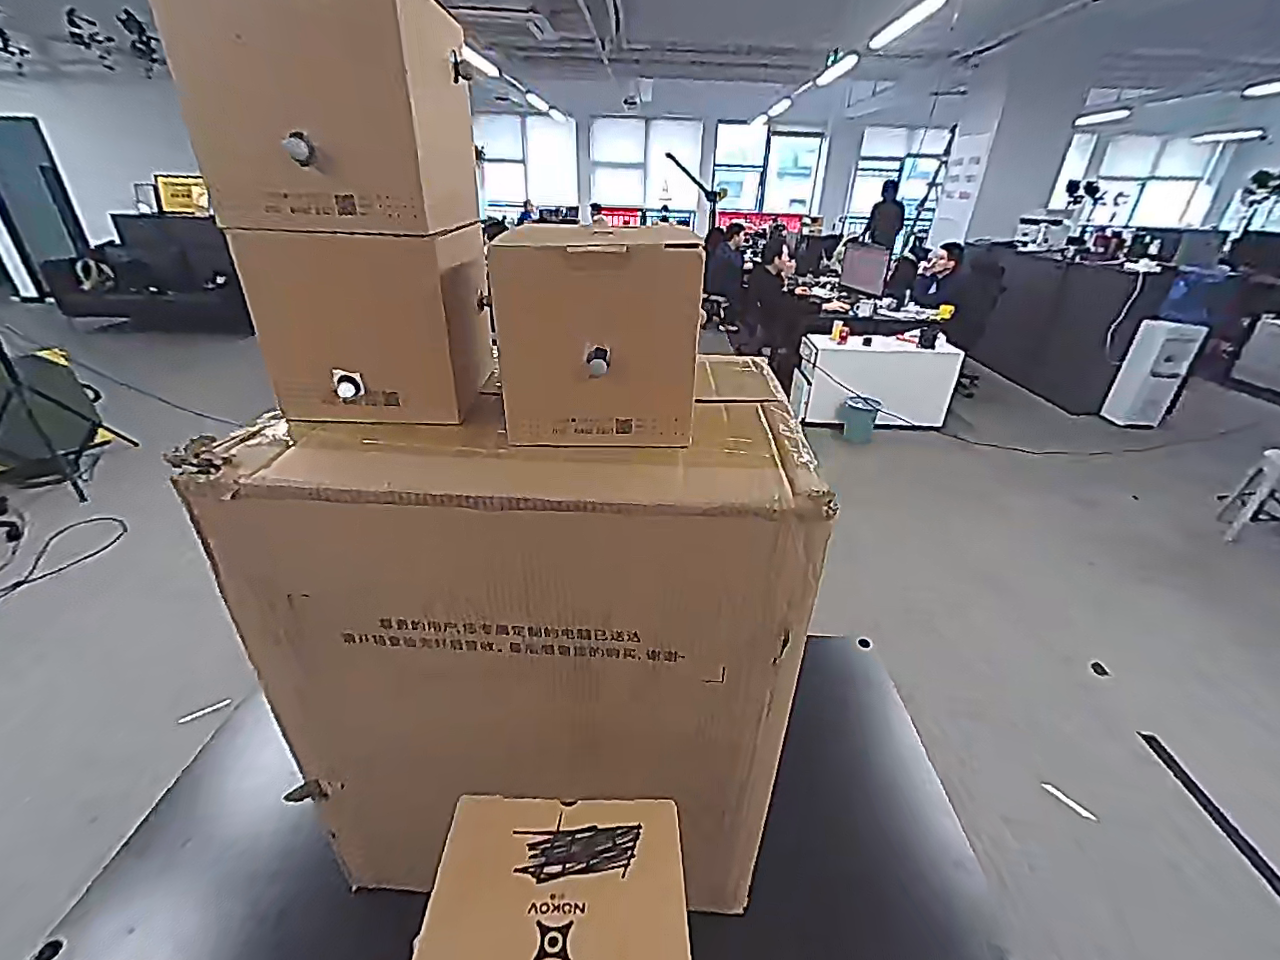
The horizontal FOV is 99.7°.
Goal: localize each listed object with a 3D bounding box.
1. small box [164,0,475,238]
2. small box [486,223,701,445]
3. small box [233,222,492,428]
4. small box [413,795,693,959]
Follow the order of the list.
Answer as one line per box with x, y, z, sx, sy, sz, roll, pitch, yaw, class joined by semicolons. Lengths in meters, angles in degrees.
-0.246;-0.307;0.459;0.168;0.176;0.179;1;29;-2;small box
-0.035;-0.141;0.512;0.168;0.176;0.179;0;30;-1;small box
-0.249;-0.163;0.540;0.168;0.176;0.179;0;30;-4;small box
-0.056;0.348;0.359;0.168;0.176;0.179;3;22;-3;small box
